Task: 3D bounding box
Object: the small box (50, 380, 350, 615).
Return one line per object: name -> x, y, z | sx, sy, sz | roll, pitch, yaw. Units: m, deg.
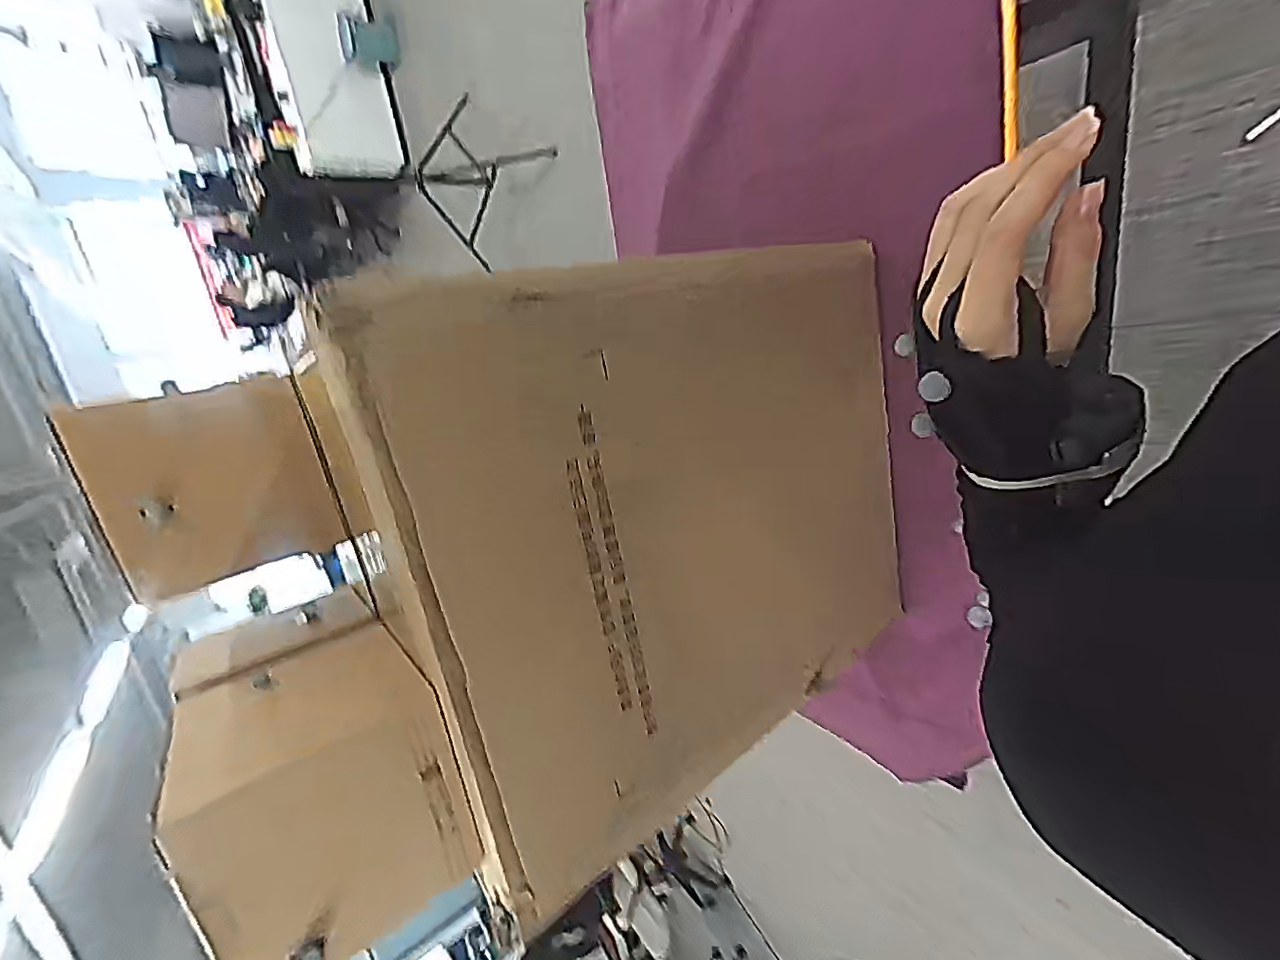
small box -> -0.416, 0.001, 0.539 | 0.168, 0.176, 0.179 | 7, 114, 53
